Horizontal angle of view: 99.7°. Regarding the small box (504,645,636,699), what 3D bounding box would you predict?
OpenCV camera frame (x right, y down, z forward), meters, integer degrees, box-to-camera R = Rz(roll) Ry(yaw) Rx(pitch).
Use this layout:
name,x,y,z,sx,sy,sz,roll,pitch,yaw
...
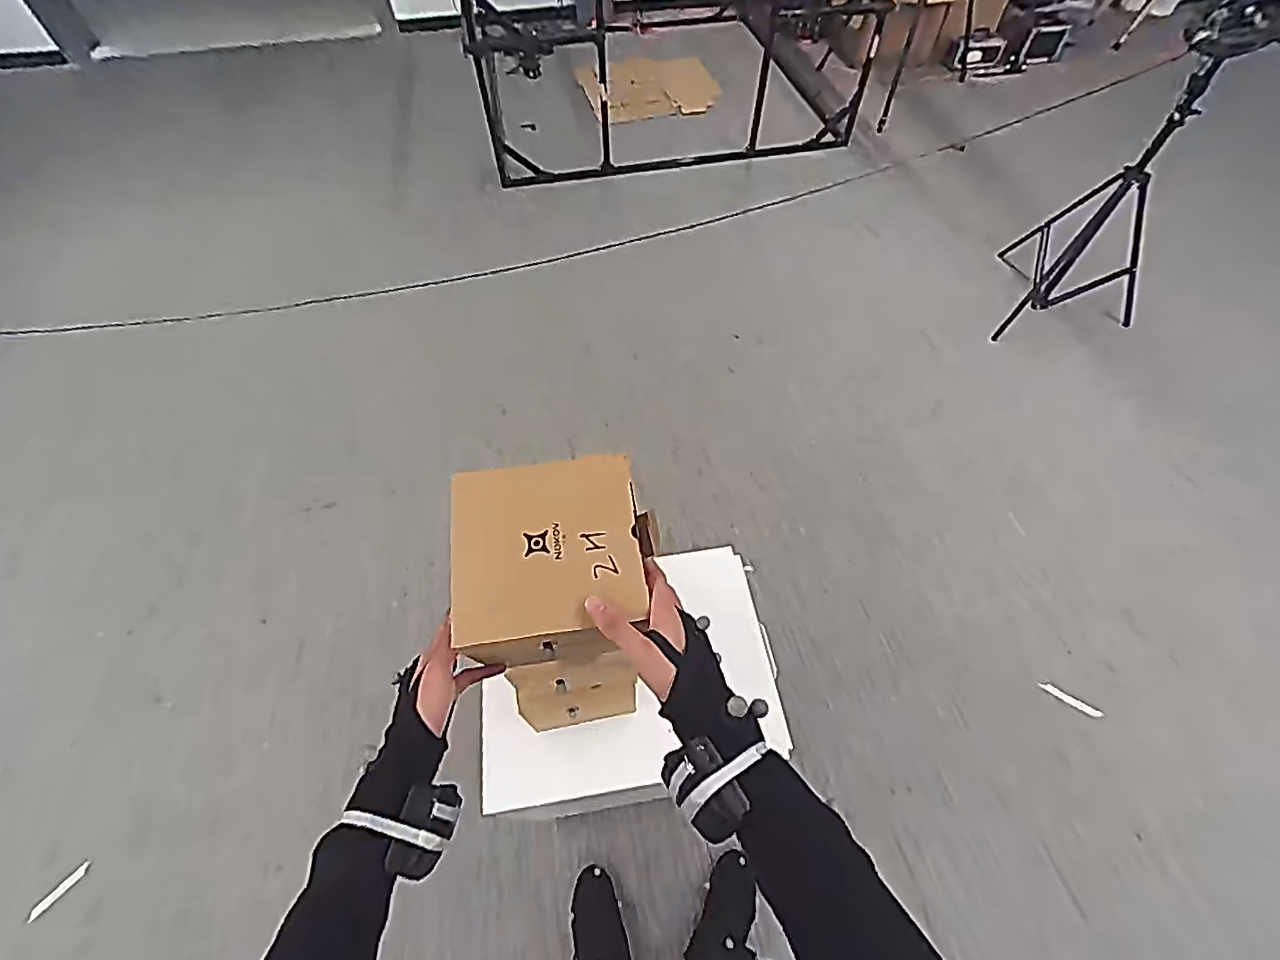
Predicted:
name,x,y,z,sx,sy,sz,roll,pitch,yaw
small box,-0.099,0.205,0.780,0.168,0.176,0.179,-8,56,-5

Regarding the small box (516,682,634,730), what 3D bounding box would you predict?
name,x,y,z,sx,sy,sz,roll,pitch,yaw
small box,-0.108,0.307,0.907,0.179,0.176,0.168,-9,57,-7

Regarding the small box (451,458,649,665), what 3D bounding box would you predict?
name,x,y,z,sx,sy,sz,roll,pitch,yaw
small box,-0.088,0.094,0.575,0.179,0.176,0.168,-6,65,-5
